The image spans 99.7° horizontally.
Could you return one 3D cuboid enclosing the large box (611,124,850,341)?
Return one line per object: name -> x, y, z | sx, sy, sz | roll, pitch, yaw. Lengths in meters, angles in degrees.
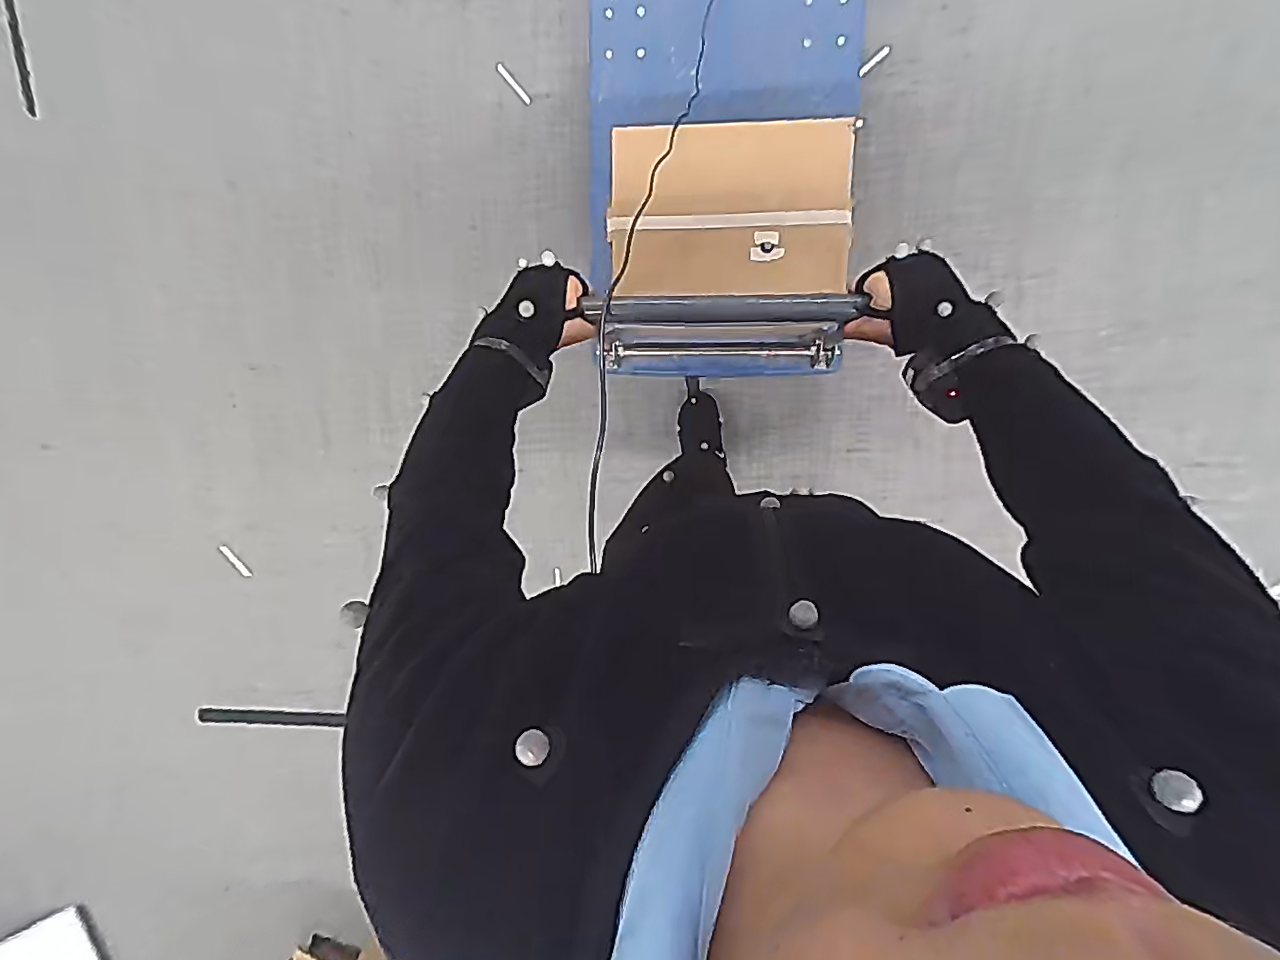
large box -> 0.161, -0.454, 1.071 | 0.408, 0.320, 0.320 | 1, 99, 5
